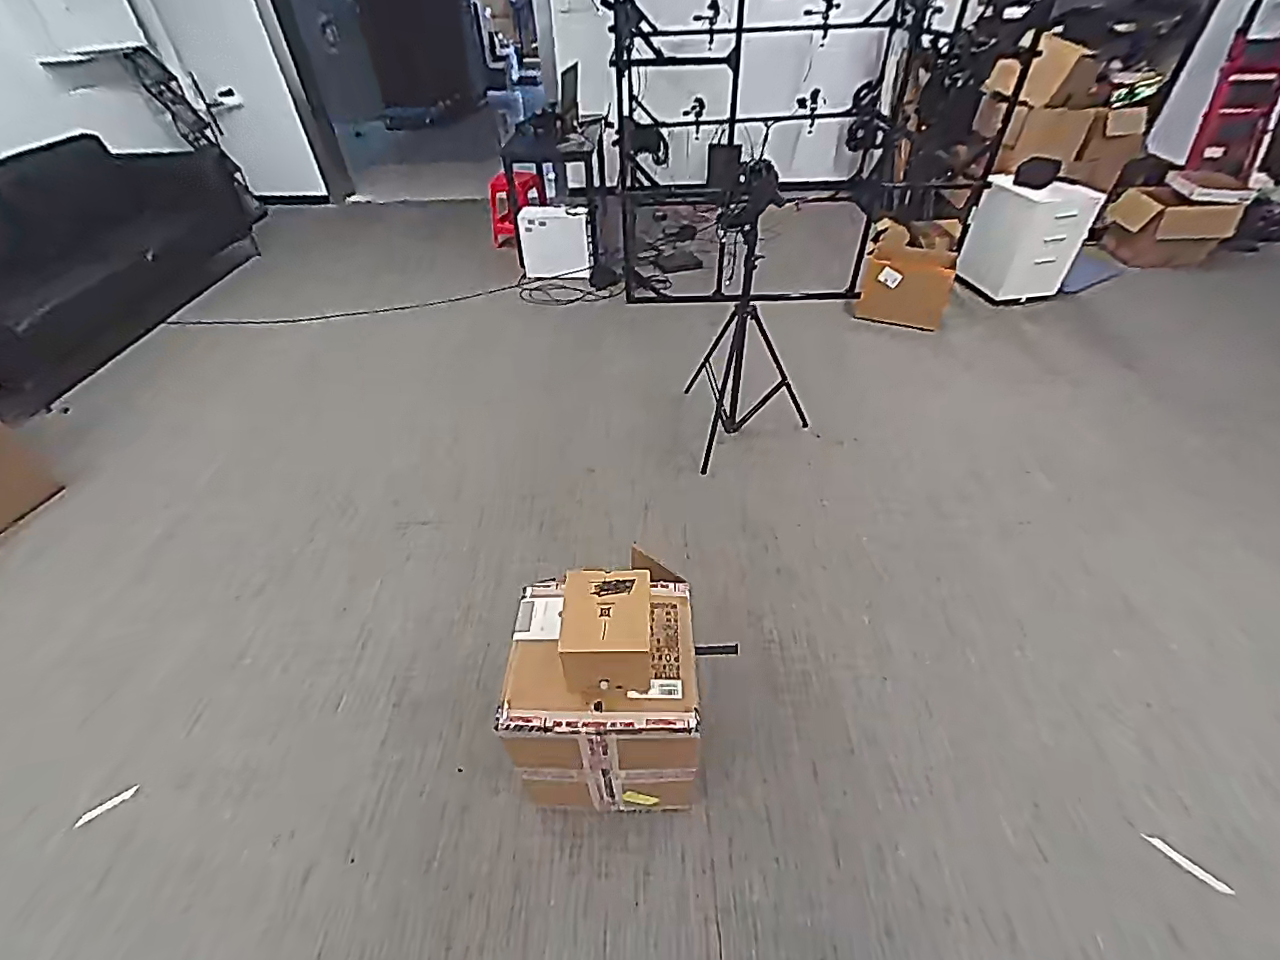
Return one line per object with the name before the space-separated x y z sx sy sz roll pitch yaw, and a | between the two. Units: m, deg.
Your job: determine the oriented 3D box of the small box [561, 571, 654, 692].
small box | -0.057 0.298 1.070 0.168 0.176 0.179 -1 46 1
